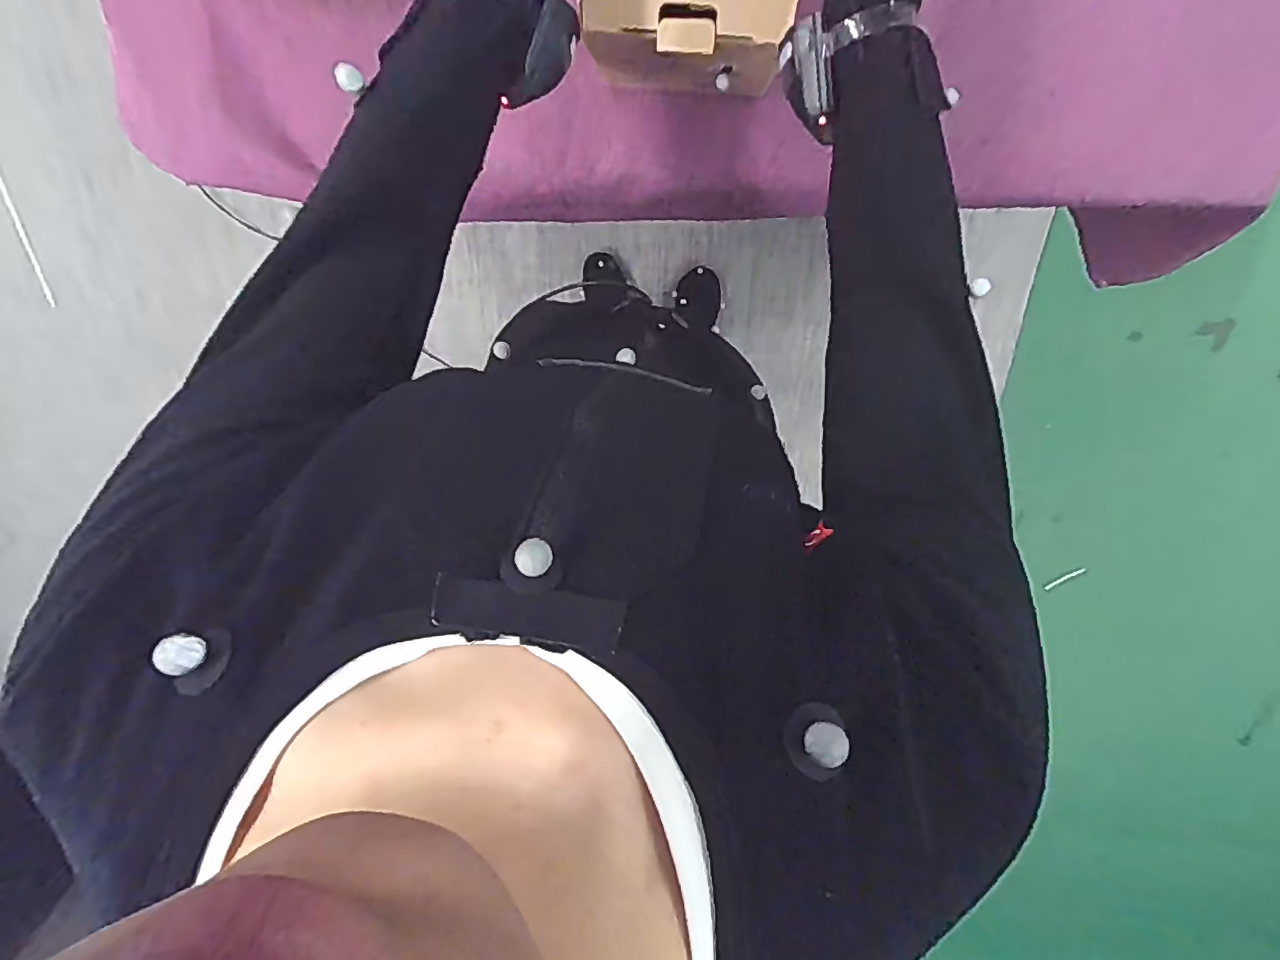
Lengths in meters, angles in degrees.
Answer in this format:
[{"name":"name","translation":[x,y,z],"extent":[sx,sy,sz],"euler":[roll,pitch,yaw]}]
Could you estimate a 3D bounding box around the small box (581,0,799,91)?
[{"name":"small box","translation":[0.048,-0.448,0.449],"extent":[0.168,0.176,0.179],"euler":[5,114,1]}]
